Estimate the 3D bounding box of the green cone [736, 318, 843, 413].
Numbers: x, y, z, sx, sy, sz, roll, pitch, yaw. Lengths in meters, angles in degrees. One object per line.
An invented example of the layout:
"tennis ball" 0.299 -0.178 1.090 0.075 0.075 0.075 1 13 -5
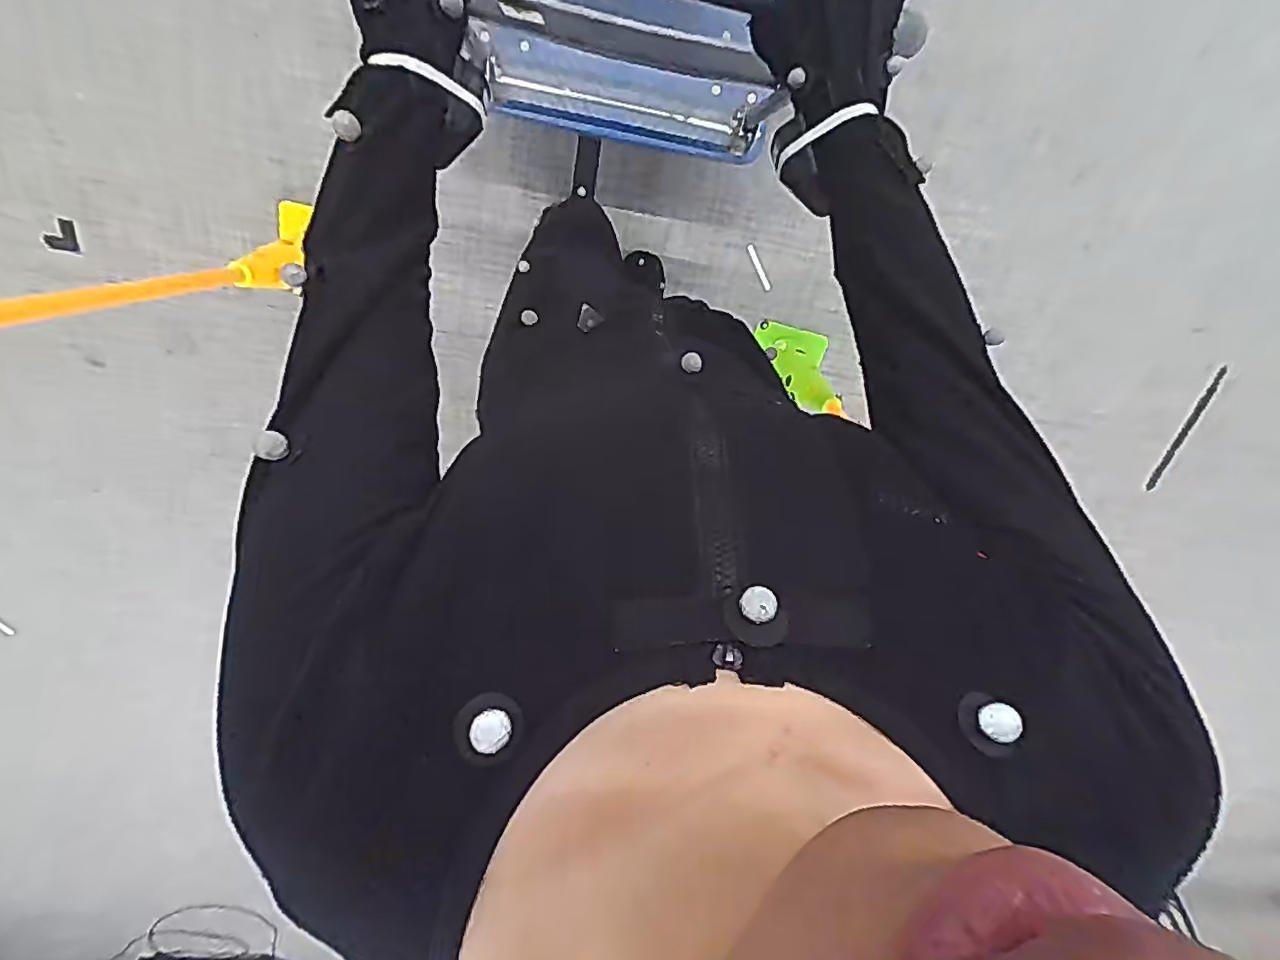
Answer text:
"green cone" 0.386 -0.236 1.286 0.202 0.368 0.200 11 116 -10
